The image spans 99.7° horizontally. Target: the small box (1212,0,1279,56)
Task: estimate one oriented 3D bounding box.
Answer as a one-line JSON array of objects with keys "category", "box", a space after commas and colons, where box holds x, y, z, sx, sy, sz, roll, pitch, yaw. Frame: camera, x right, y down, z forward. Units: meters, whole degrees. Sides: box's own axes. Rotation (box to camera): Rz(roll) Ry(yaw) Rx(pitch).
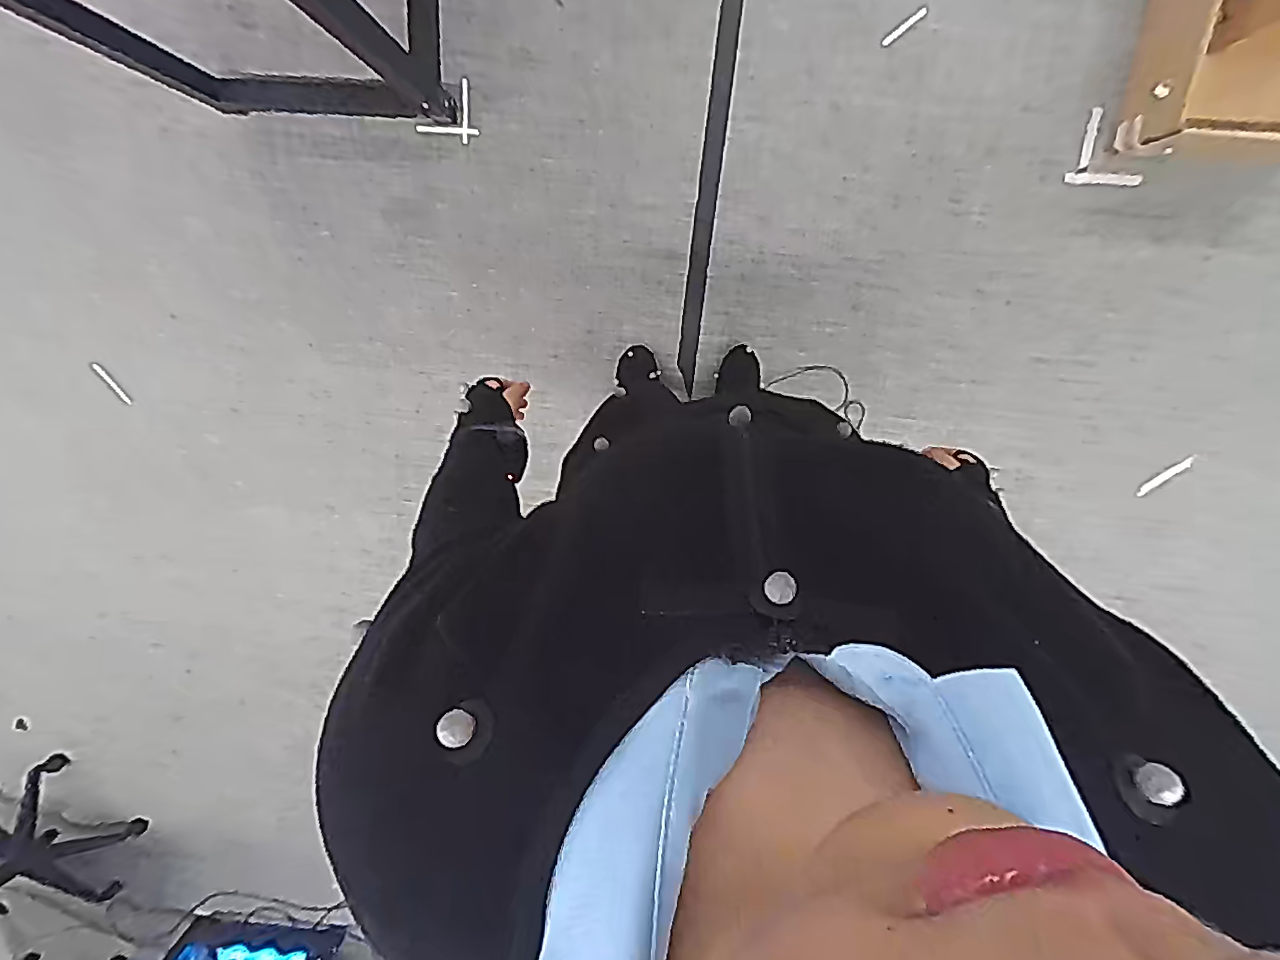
[{"category": "small box", "box": [1.292, -0.958, 1.048, 0.179, 0.176, 0.168, 4, 106, 2]}]
